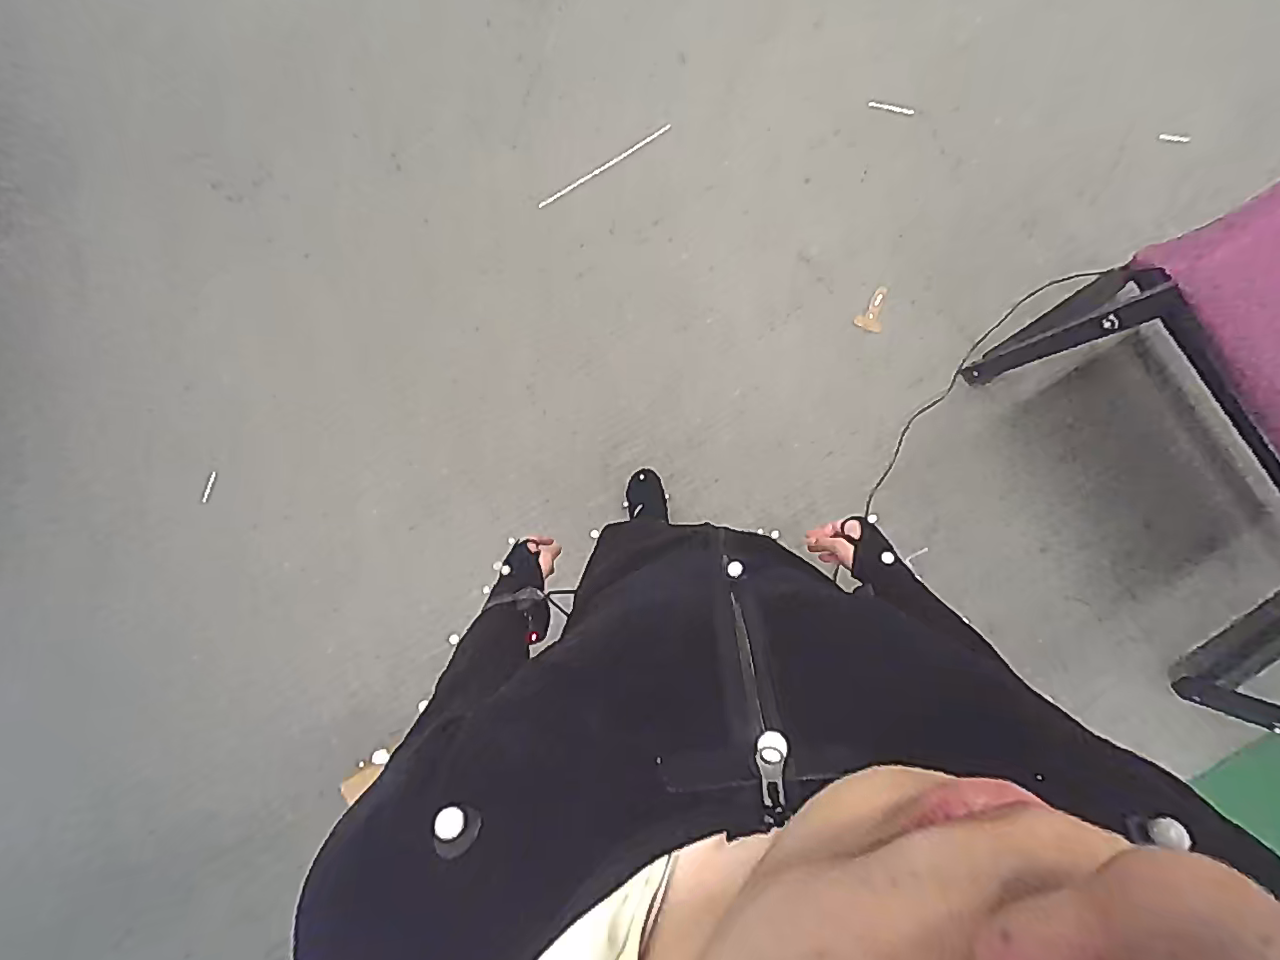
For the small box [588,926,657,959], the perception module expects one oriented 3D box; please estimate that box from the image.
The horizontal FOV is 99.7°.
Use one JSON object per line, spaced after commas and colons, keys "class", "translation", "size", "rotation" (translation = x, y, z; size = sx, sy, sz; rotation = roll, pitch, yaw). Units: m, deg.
{"class": "small box", "translation": [-0.048, 1.401, 1.489], "size": [0.179, 0.176, 0.168], "rotation": [-31, 88, 1]}
